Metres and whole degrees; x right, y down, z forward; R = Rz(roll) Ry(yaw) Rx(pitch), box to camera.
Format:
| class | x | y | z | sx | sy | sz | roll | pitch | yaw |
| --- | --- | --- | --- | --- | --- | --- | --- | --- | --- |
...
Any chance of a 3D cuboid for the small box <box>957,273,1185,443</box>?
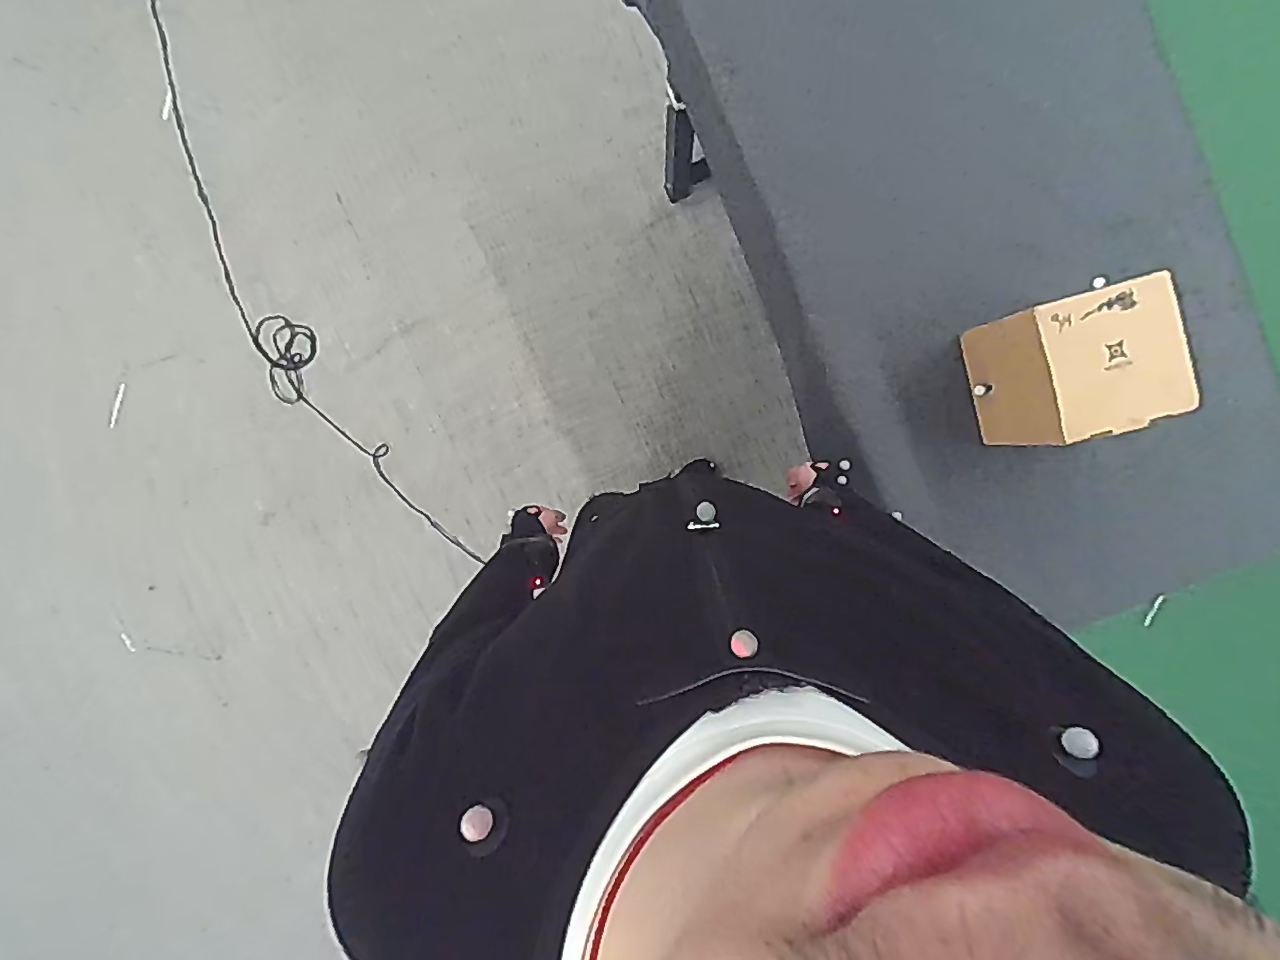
| class | x | y | z | sx | sy | sz | roll | pitch | yaw |
| --- | --- | --- | --- | --- | --- | --- | --- | --- | --- |
| small box | 0.575 | -0.156 | 0.744 | 0.168 | 0.176 | 0.179 | -15 | 94 | 3 |

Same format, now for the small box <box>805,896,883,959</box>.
| class | x | y | z | sx | sy | sz | roll | pitch | yaw |
| --- | --- | --- | --- | --- | --- | --- | --- | --- | --- |
| small box | 0.604 | 1.372 | 1.569 | 0.168 | 0.176 | 0.179 | -22 | 93 | 1 |
